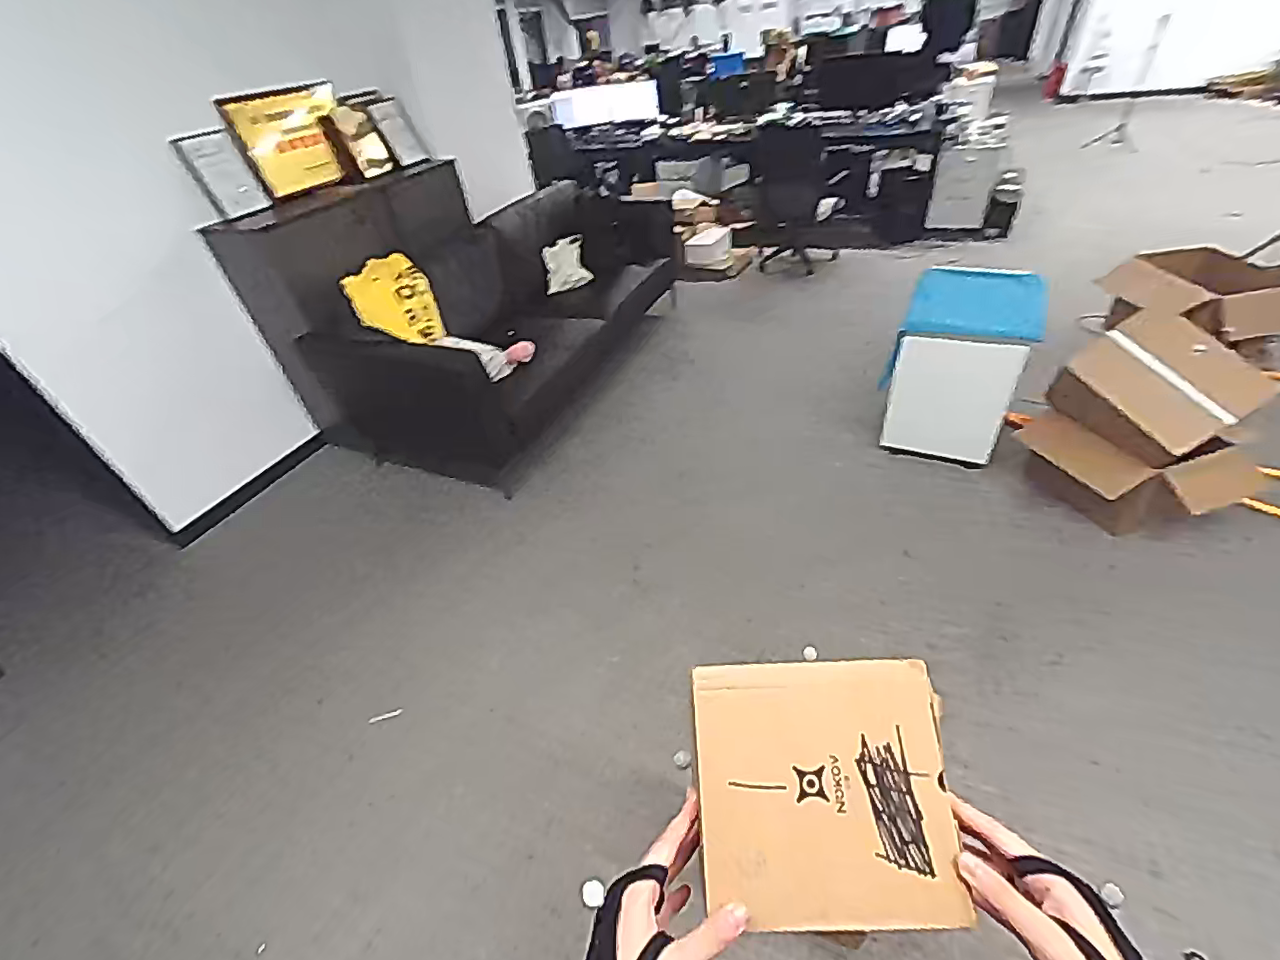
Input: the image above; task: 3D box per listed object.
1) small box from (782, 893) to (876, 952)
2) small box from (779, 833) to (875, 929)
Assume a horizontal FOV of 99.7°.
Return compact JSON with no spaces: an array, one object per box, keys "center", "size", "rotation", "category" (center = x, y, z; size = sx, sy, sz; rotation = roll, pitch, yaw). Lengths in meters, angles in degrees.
[{"center":[0.408,0.864,1.159],"size":[0.179,0.176,0.168],"rotation":[11,43,23],"category":"small box"},{"center":[0.377,0.737,1.060],"size":[0.179,0.176,0.168],"rotation":[10,44,23],"category":"small box"}]
